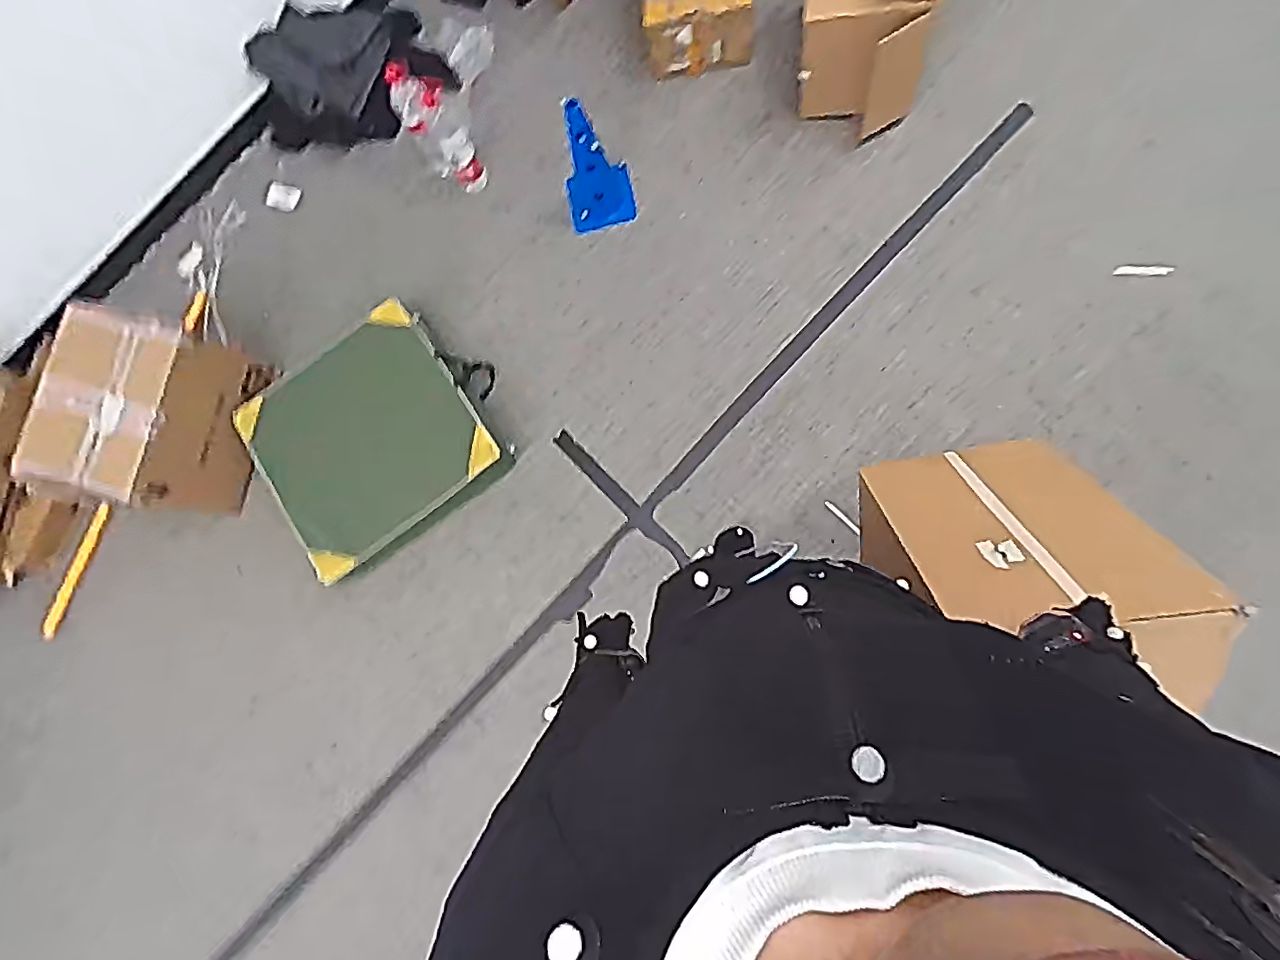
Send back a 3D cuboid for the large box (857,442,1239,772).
[{"bbox_3d":[0.567,0.189,0.875,0.320,0.408,0.320,-10,124,10],"label":"large box"}]
